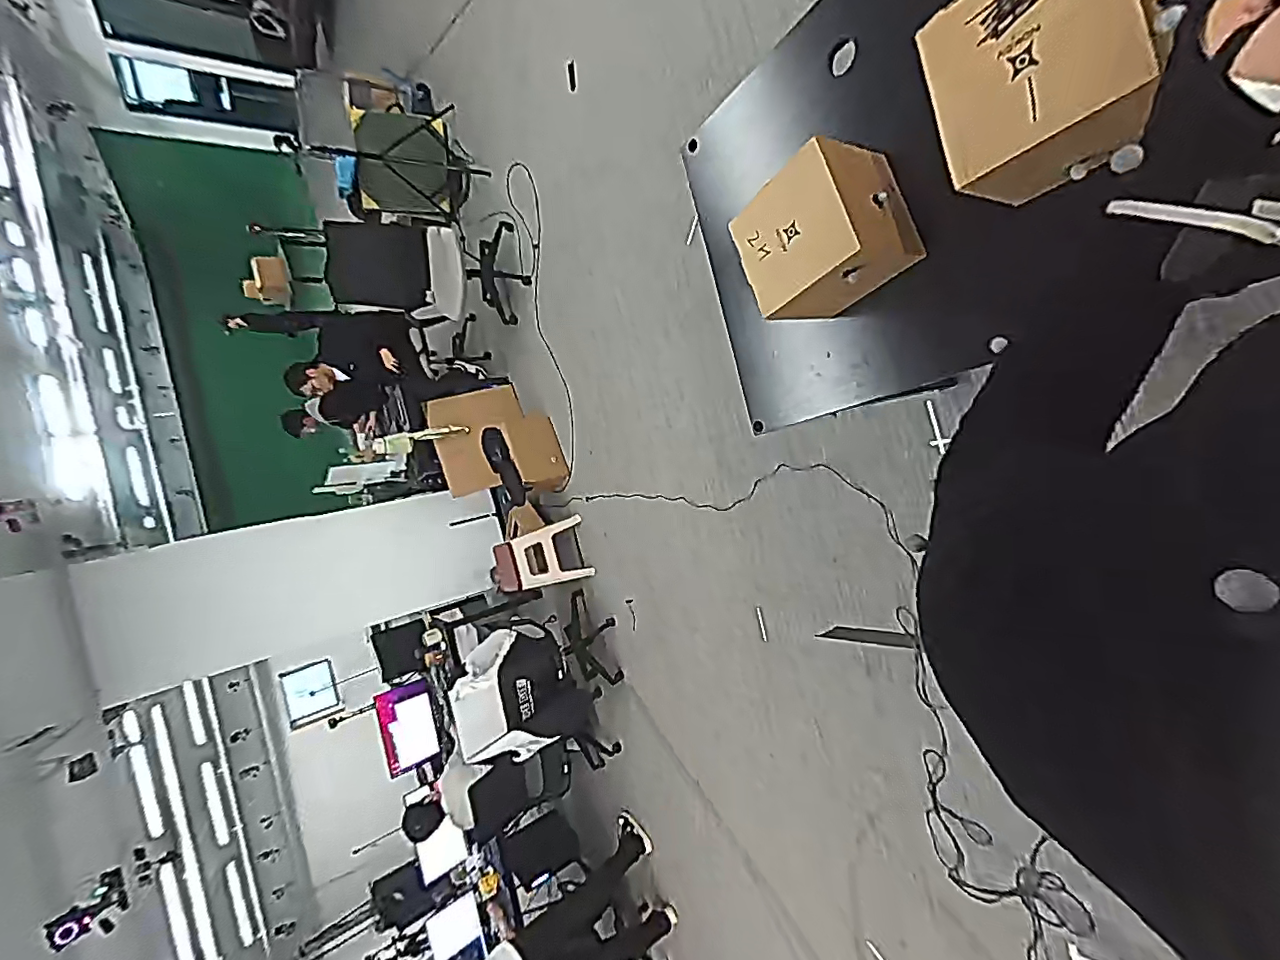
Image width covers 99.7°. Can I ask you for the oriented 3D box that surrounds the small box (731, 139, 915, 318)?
[{"bbox_3d":[0.273,-0.357,0.797,0.179,0.176,0.168,-28,77,55],"label":"small box"}]

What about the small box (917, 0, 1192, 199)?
[{"bbox_3d":[0.425,-0.421,0.559,0.168,0.176,0.179,-14,90,56],"label":"small box"}]
